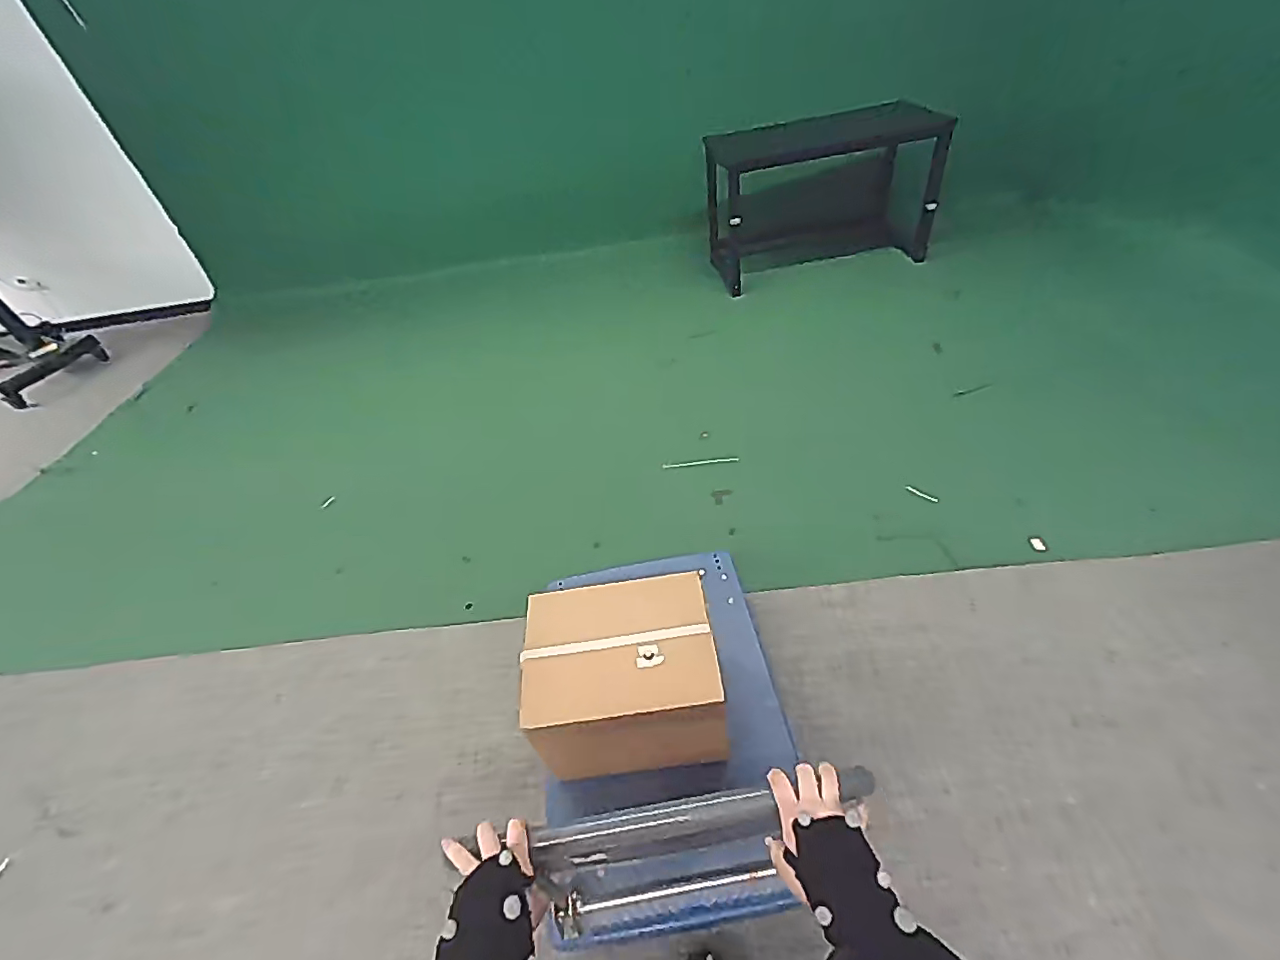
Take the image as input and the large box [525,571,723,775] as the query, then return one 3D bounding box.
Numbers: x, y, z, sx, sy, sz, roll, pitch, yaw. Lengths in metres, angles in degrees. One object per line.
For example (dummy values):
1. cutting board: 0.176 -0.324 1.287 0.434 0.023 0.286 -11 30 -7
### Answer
1. large box: -0.032 0.456 1.274 0.408 0.320 0.320 -8 44 1
